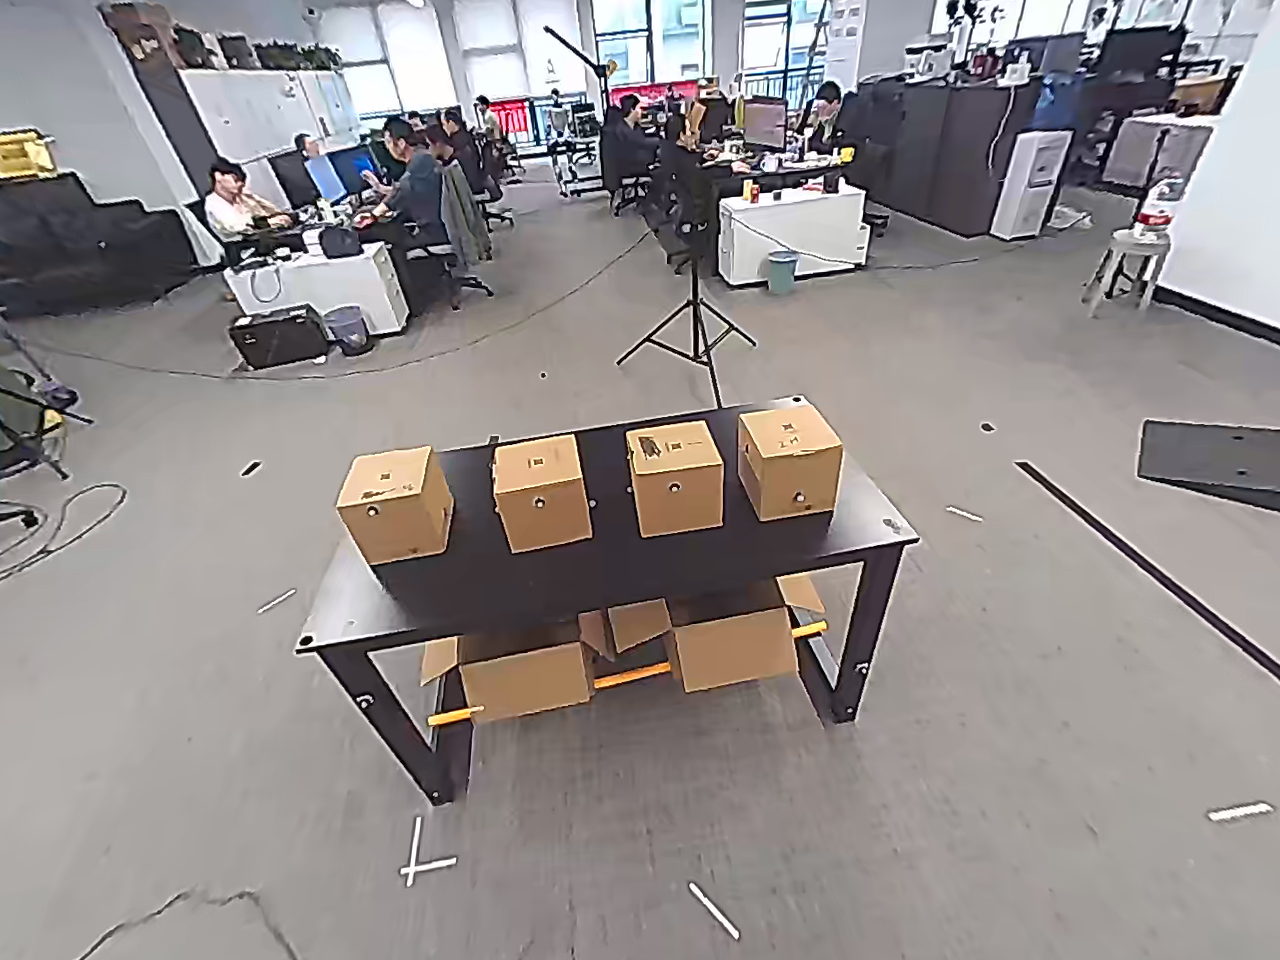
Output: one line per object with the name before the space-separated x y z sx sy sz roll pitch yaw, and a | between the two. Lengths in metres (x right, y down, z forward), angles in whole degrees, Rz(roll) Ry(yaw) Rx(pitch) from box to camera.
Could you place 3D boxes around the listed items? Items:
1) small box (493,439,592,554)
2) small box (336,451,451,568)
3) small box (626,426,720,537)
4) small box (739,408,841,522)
small box | -0.208 0.037 1.160 0.179 0.176 0.168 -10 38 -7
small box | -0.518 0.063 1.168 0.168 0.176 0.179 -10 37 -5
small box | 0.071 0.006 1.156 0.179 0.176 0.168 -8 37 -2
small box | 0.313 -0.033 1.168 0.168 0.176 0.179 -9 37 -2
